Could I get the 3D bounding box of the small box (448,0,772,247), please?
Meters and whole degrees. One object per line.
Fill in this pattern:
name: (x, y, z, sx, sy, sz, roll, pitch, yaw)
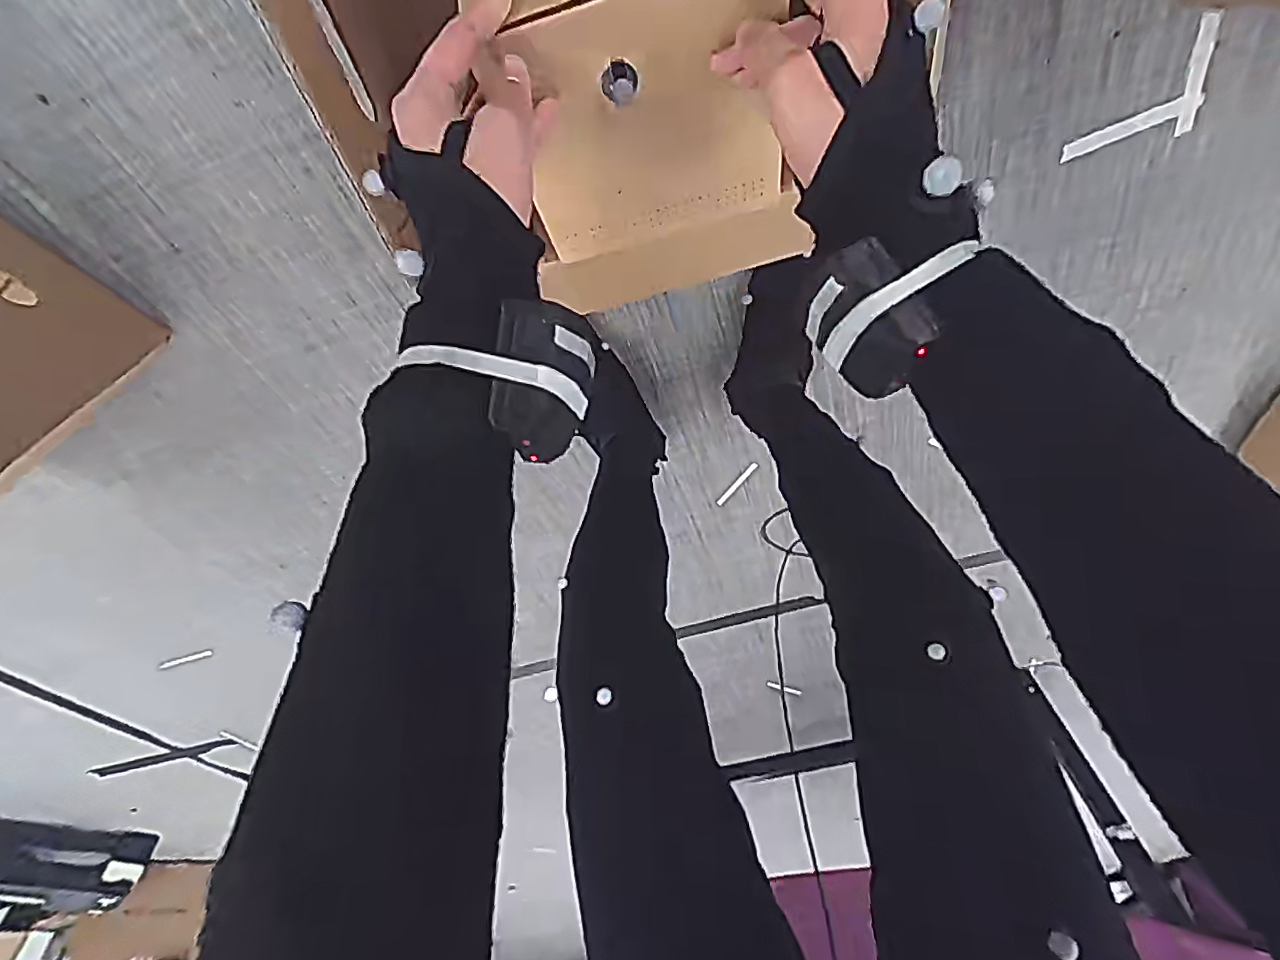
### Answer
small box: (-0.011, -0.293, 0.371, 0.179, 0.168, 0.176, -13, 158, 7)
